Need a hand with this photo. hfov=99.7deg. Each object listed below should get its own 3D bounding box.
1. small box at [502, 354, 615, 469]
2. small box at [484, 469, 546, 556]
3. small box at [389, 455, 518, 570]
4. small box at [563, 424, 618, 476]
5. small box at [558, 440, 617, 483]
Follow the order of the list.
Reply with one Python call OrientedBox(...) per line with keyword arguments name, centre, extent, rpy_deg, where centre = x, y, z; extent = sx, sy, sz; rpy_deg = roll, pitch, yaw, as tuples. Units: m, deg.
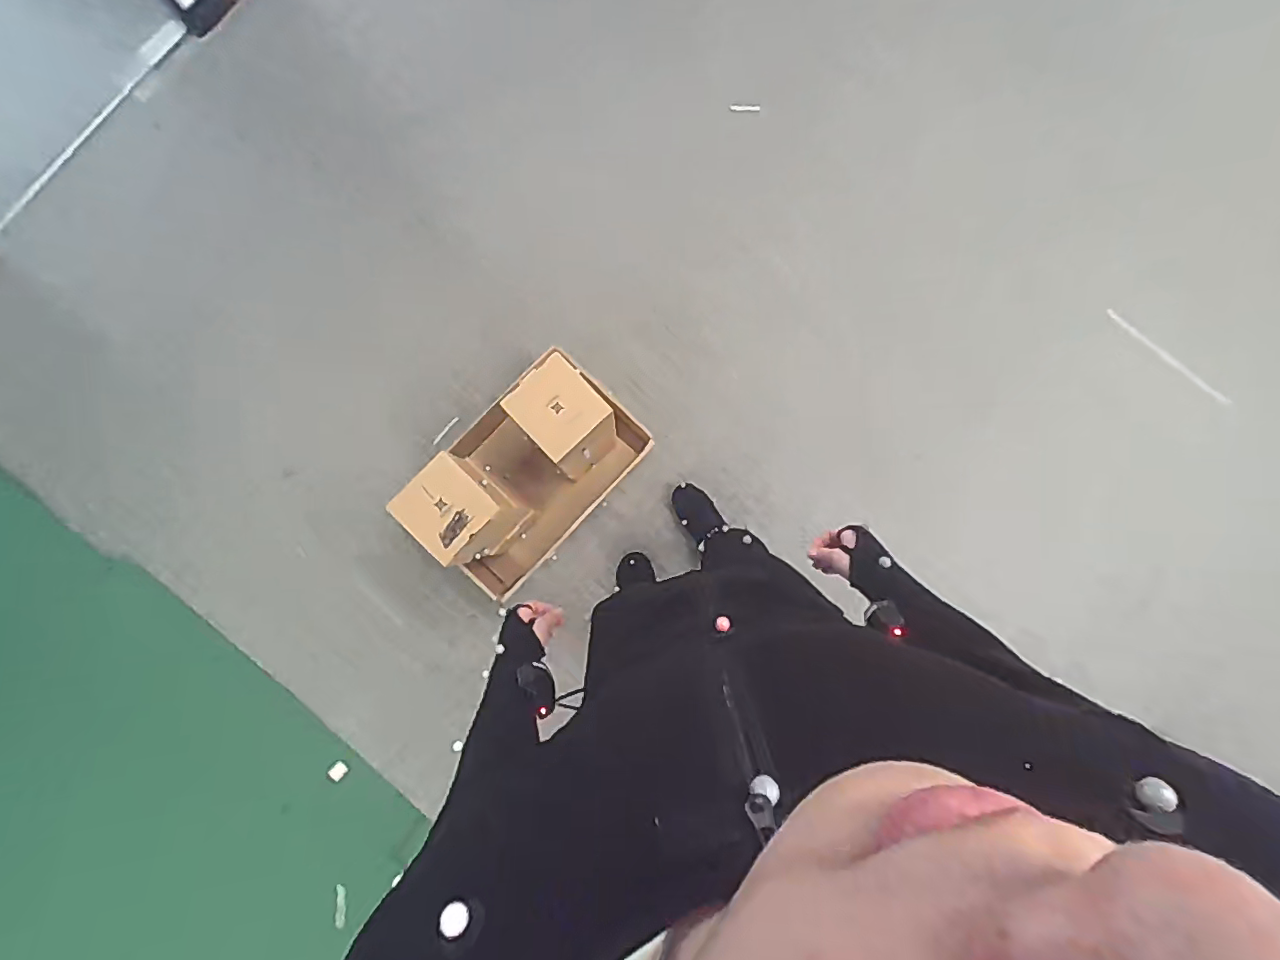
OrientedBox(name="small box", centre=(-0.171, -0.140, 1.191), extent=(0.168, 0.176, 0.179), rpy_deg=(-43, 87, -3))
OrientedBox(name="small box", centre=(-0.386, 0.095, 1.497), extent=(0.179, 0.176, 0.168), rpy_deg=(44, 86, 4))
OrientedBox(name="small box", centre=(-0.392, 0.071, 1.170), extent=(0.179, 0.176, 0.168), rpy_deg=(43, 85, 5))
OrientedBox(name="small box", centre=(-0.172, -0.127, 1.354), extent=(0.168, 0.176, 0.179), rpy_deg=(-44, 86, -4))
OrientedBox(name="small box", centre=(-0.180, -0.108, 1.516), extent=(0.179, 0.176, 0.168), rpy_deg=(44, 86, 3))
